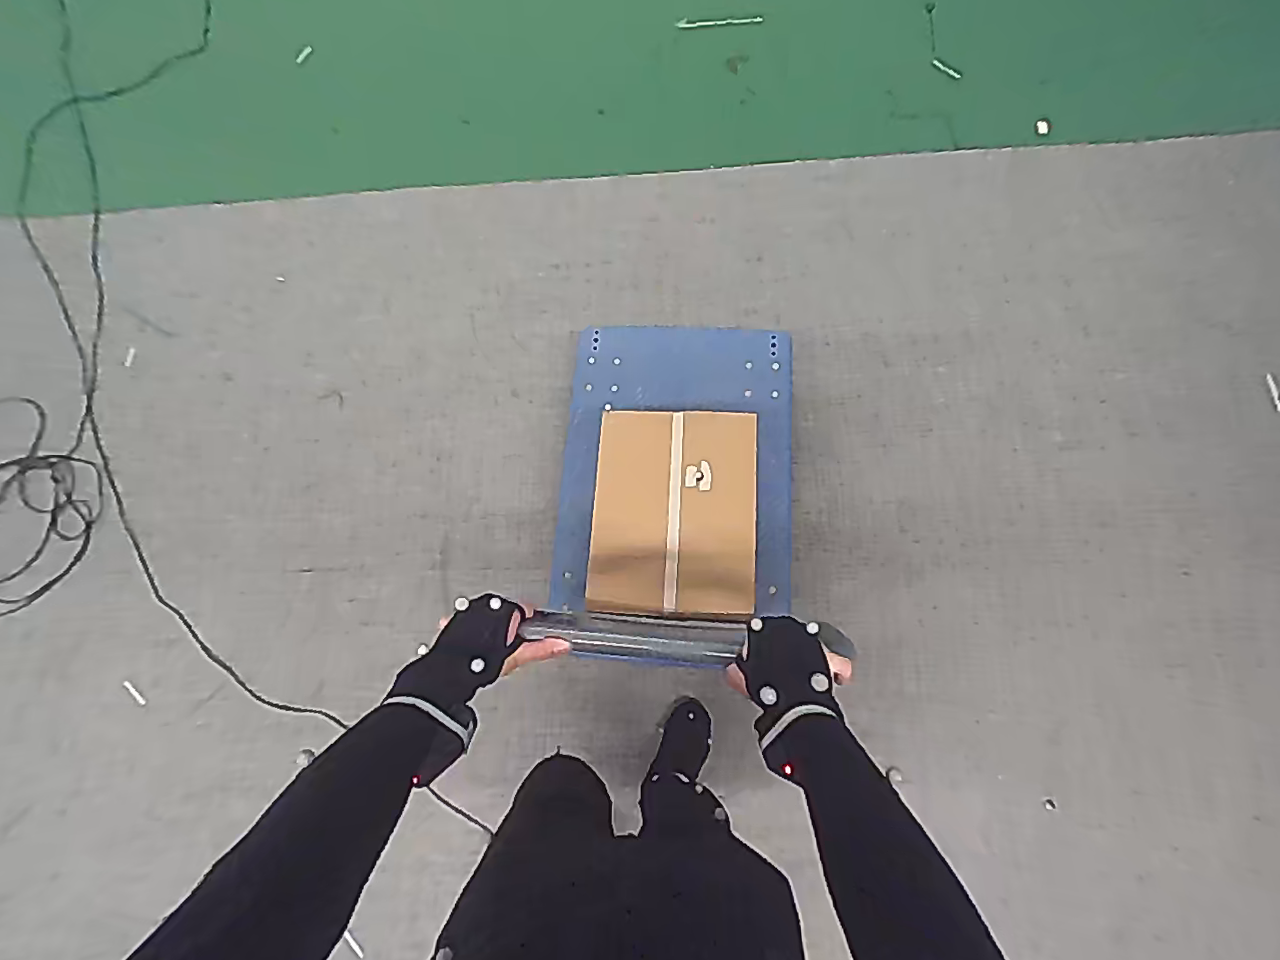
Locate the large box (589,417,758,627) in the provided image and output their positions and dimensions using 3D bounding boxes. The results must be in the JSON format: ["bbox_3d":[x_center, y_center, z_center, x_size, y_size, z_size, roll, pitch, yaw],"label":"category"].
[{"bbox_3d":[0.084,0.107,1.185,0.320,0.320,0.408,2,74,6],"label":"large box"}]
